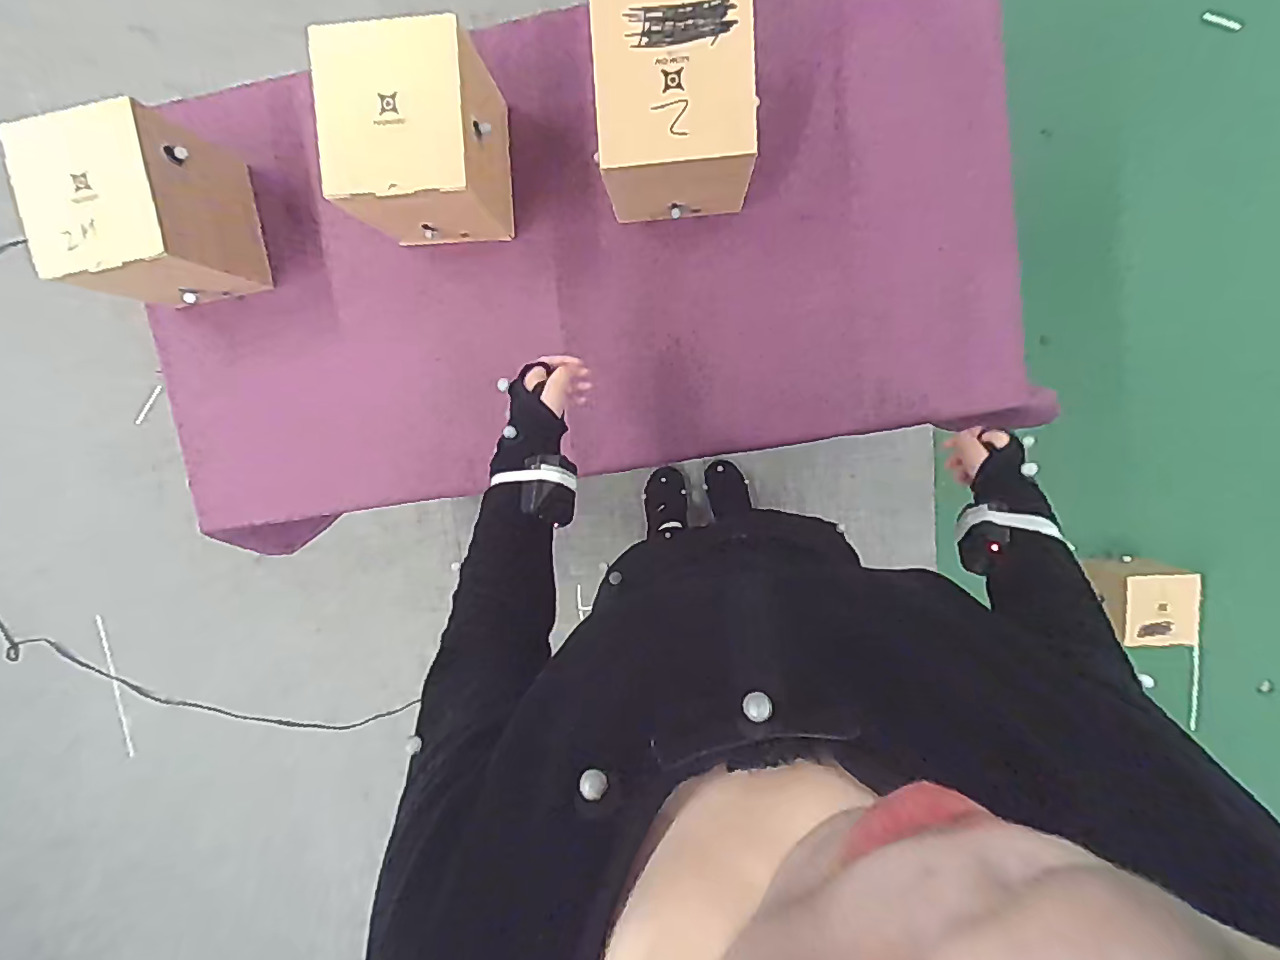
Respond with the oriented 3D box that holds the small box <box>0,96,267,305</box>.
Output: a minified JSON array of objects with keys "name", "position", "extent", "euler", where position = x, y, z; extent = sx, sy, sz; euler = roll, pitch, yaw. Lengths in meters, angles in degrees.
[{"name":"small box","position":[-0.627,-0.340,0.694],"extent":[0.168,0.176,0.179],"euler":[-8,96,5]}]

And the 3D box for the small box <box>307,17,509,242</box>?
[{"name":"small box","position":[-0.267,-0.409,0.660],"extent":[0.168,0.176,0.179],"euler":[-1,98,5]}]

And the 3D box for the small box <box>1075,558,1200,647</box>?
[{"name":"small box","position":[1.234,0.302,1.355],"extent":[0.168,0.176,0.179],"euler":[-3,95,5]}]
